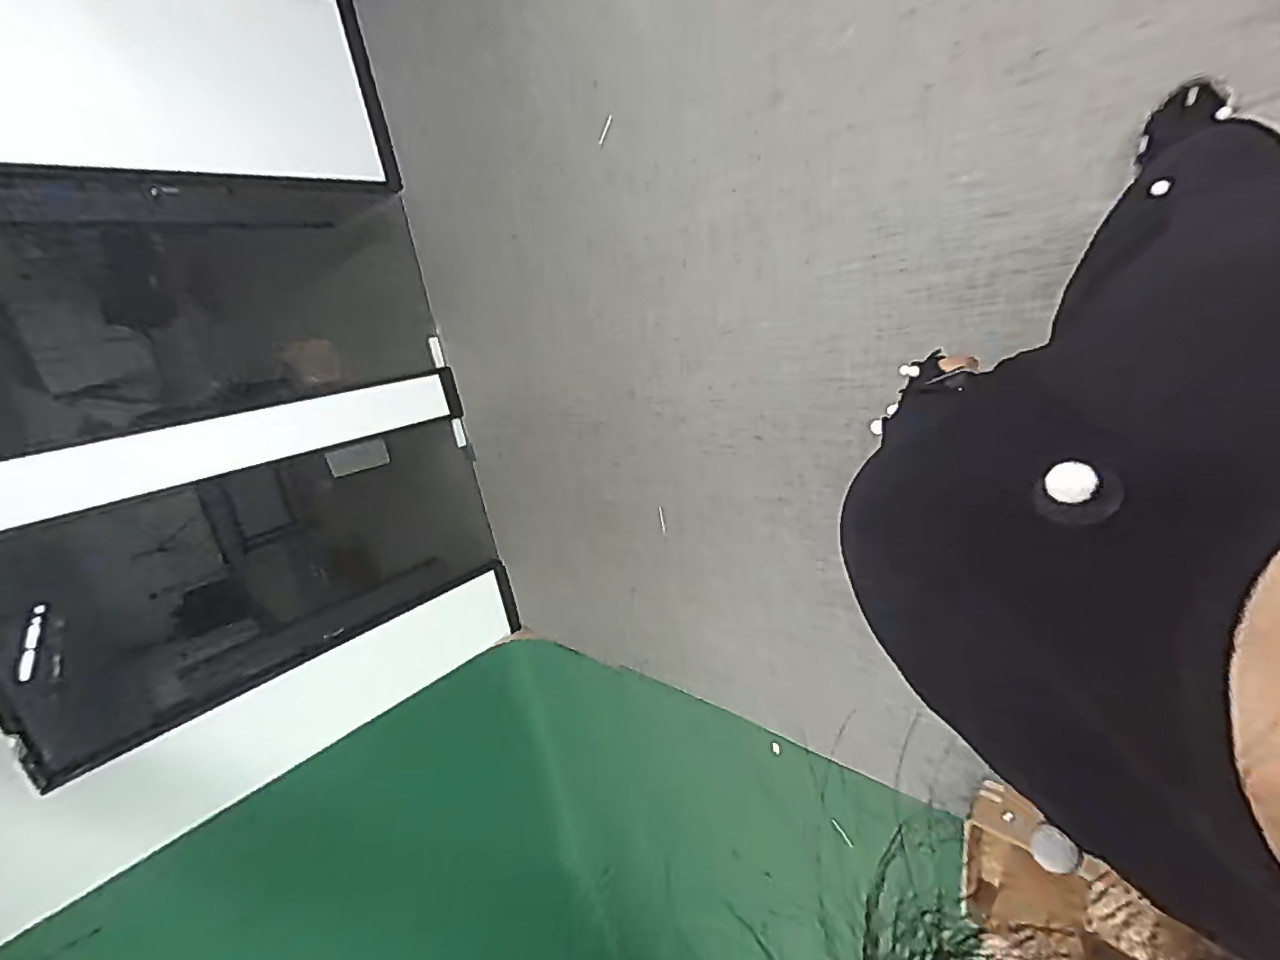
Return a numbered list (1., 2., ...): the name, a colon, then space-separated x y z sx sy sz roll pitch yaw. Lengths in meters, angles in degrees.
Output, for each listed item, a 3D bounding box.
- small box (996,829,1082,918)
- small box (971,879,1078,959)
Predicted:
1. small box: 1.077 1.111 1.470 0.168 0.176 0.179 16 117 39
2. small box: 0.966 1.156 1.357 0.179 0.176 0.168 16 119 39
